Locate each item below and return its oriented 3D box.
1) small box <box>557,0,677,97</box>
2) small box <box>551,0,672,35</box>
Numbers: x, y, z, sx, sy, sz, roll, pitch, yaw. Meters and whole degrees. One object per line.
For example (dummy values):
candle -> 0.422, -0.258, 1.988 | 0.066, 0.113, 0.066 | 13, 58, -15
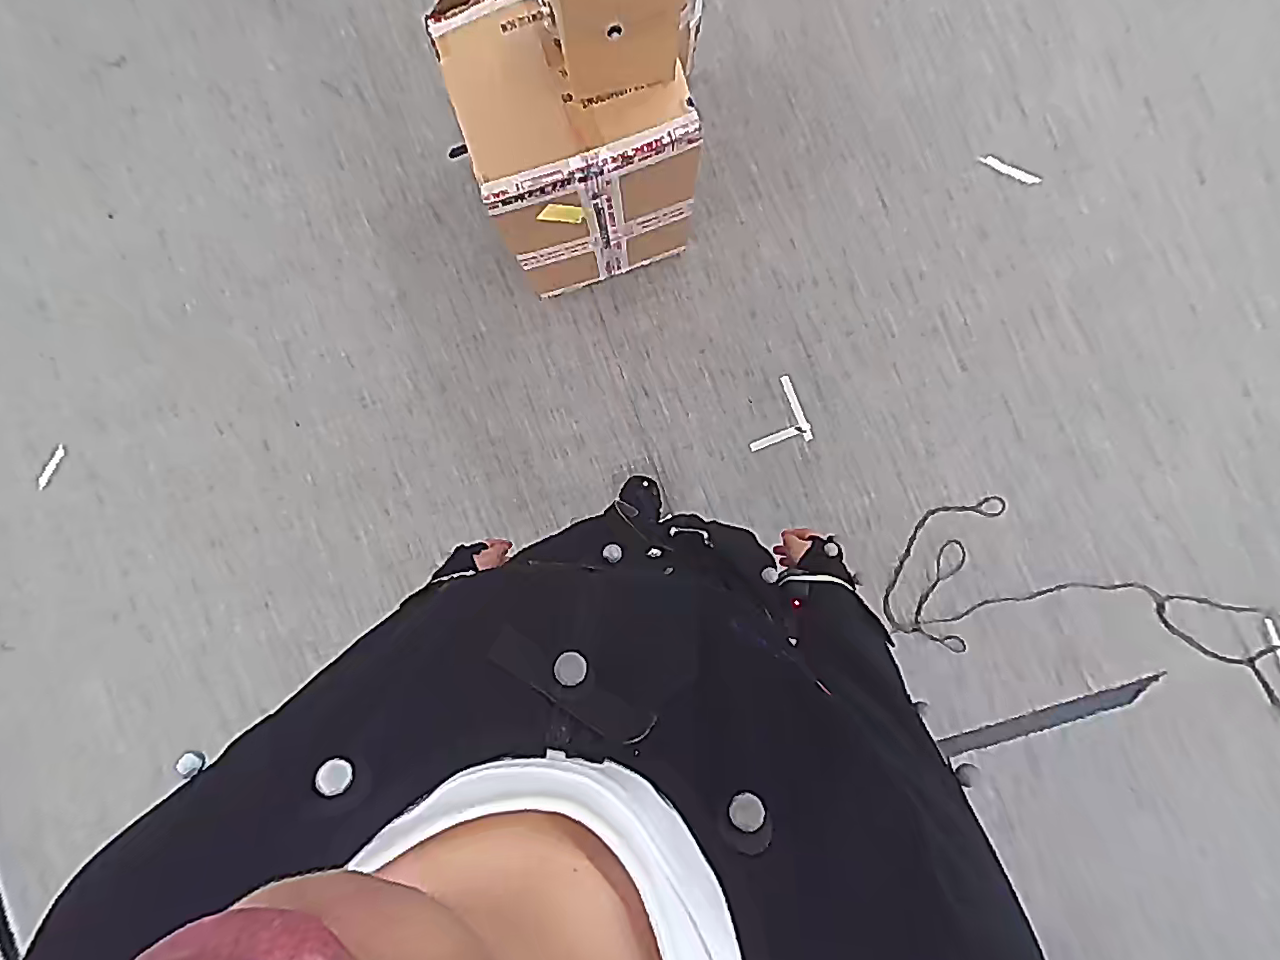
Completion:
small box -> -0.044, -0.725, 0.817 | 0.179, 0.176, 0.168 | -13, 91, 0
small box -> -0.042, -0.698, 0.652 | 0.179, 0.176, 0.168 | -16, 90, 0
